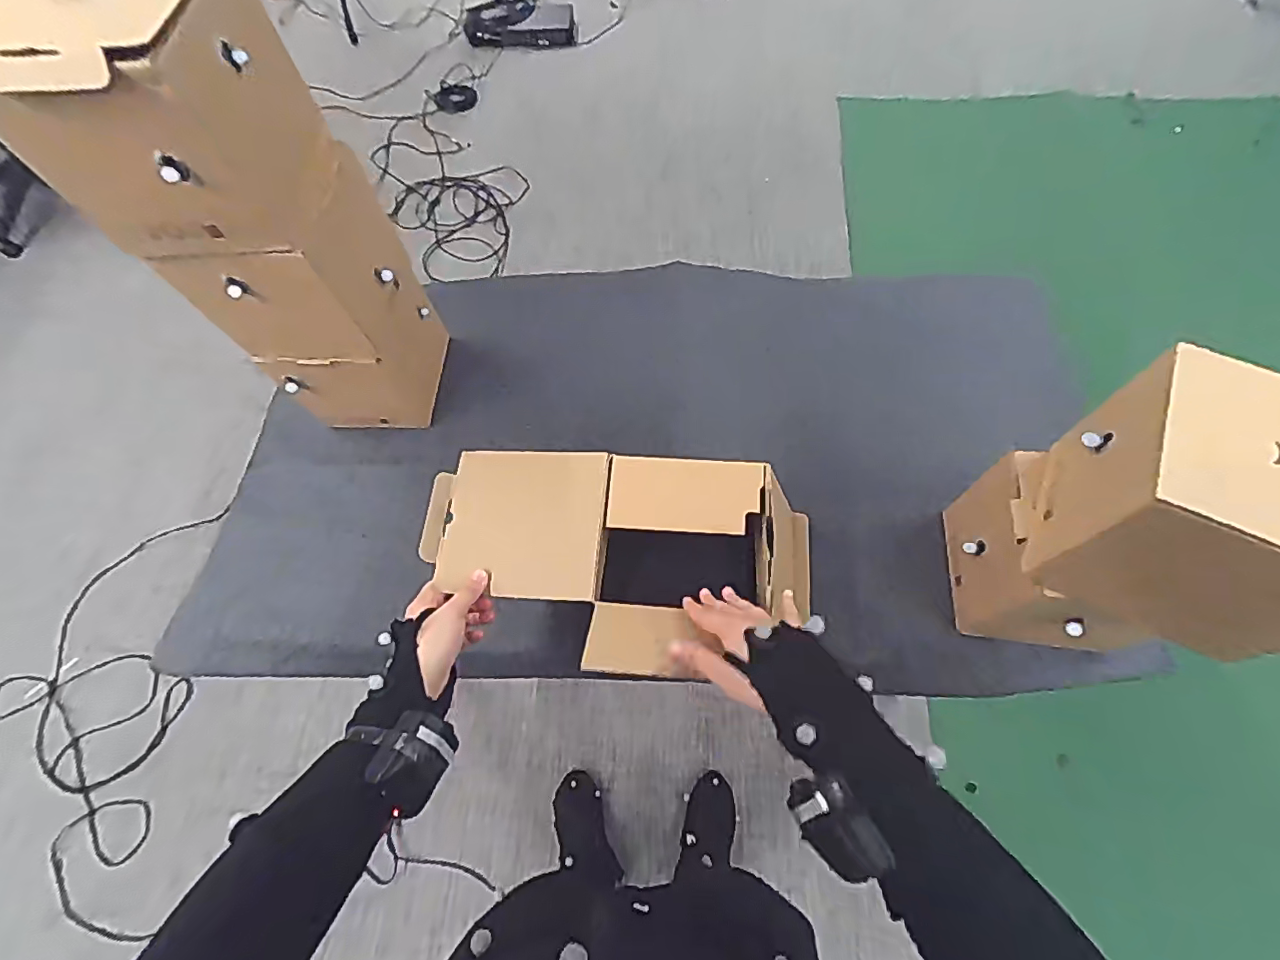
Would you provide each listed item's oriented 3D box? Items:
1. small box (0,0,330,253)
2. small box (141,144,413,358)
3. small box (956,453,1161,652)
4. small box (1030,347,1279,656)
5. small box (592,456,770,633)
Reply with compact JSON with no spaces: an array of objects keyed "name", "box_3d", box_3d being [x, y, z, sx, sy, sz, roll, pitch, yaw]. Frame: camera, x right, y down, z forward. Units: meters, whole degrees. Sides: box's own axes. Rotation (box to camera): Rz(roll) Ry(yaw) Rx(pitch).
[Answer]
[{"name":"small box","box_3d":[-0.412,-0.324,0.483,0.168,0.176,0.179,-2,65,1]},{"name":"small box","box_3d":[-0.398,-0.257,0.631,0.179,0.176,0.168,1,67,3]},{"name":"small box","box_3d":[0.480,0.087,0.606,0.179,0.176,0.168,6,63,7]},{"name":"small box","box_3d":[0.475,0.027,0.453,0.179,0.176,0.168,26,66,14]},{"name":"small box","box_3d":[0.052,0.082,0.631,0.179,0.176,0.168,2,69,7]}]
